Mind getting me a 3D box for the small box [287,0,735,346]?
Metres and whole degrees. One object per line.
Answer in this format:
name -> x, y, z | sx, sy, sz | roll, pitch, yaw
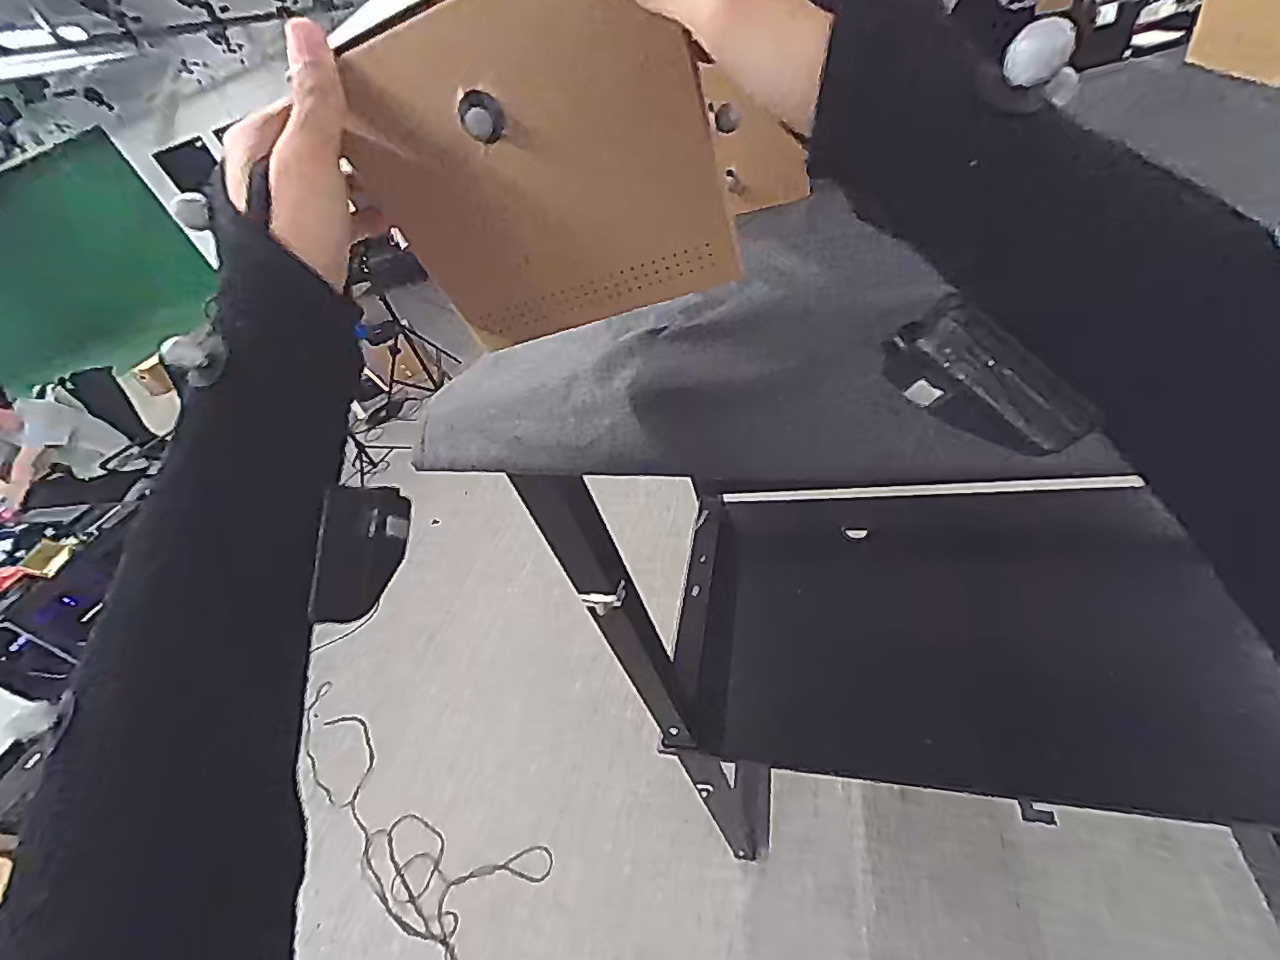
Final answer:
small box -> -0.050, -0.206, 0.327 | 0.179, 0.176, 0.168 | -11, 52, 16
